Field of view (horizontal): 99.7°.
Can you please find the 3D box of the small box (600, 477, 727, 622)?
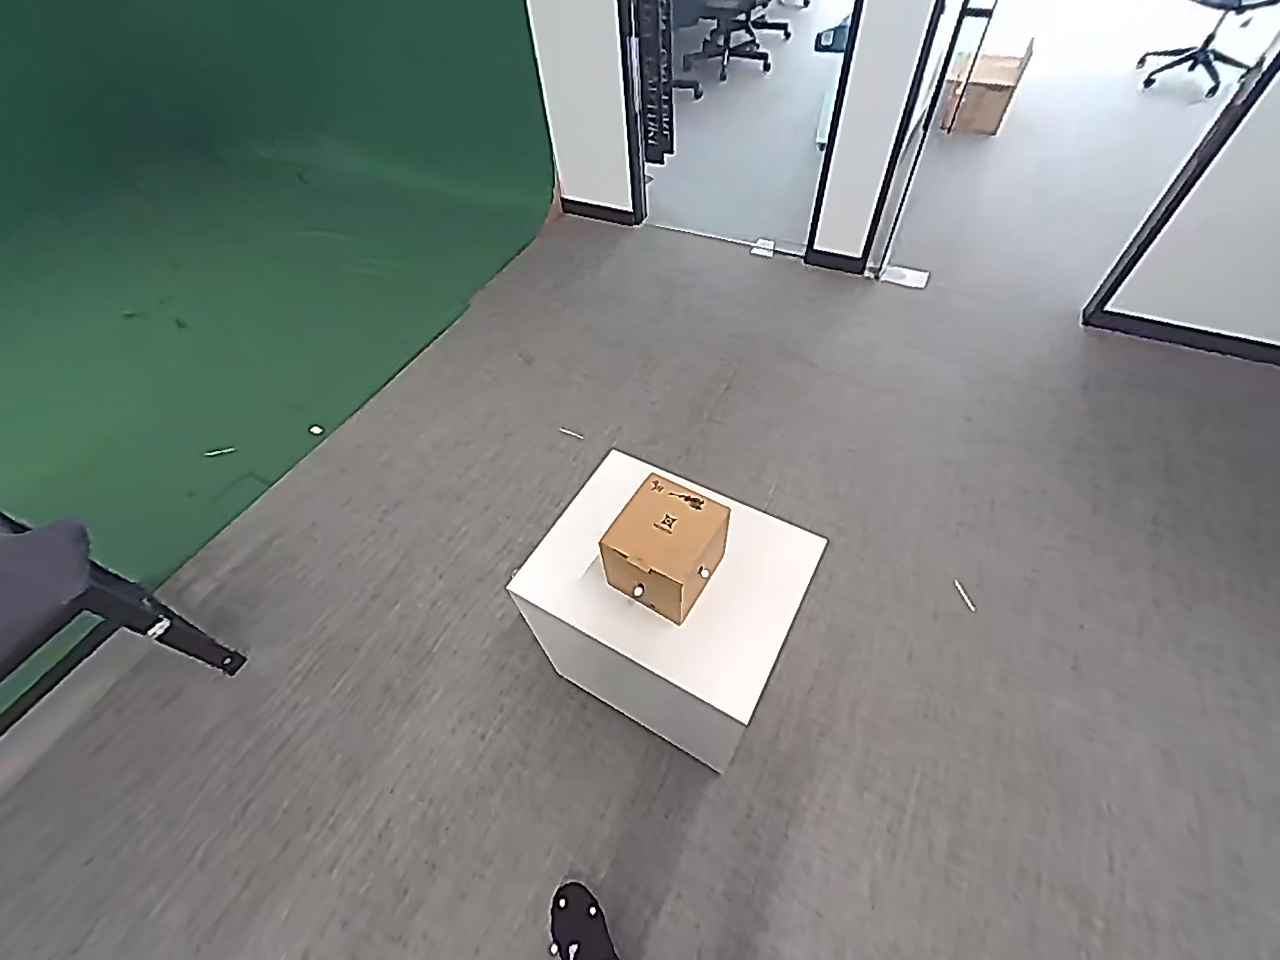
[{"bbox_3d":[0.049,0.132,0.997,0.168,0.176,0.179,23,57,20],"label":"small box"}]
